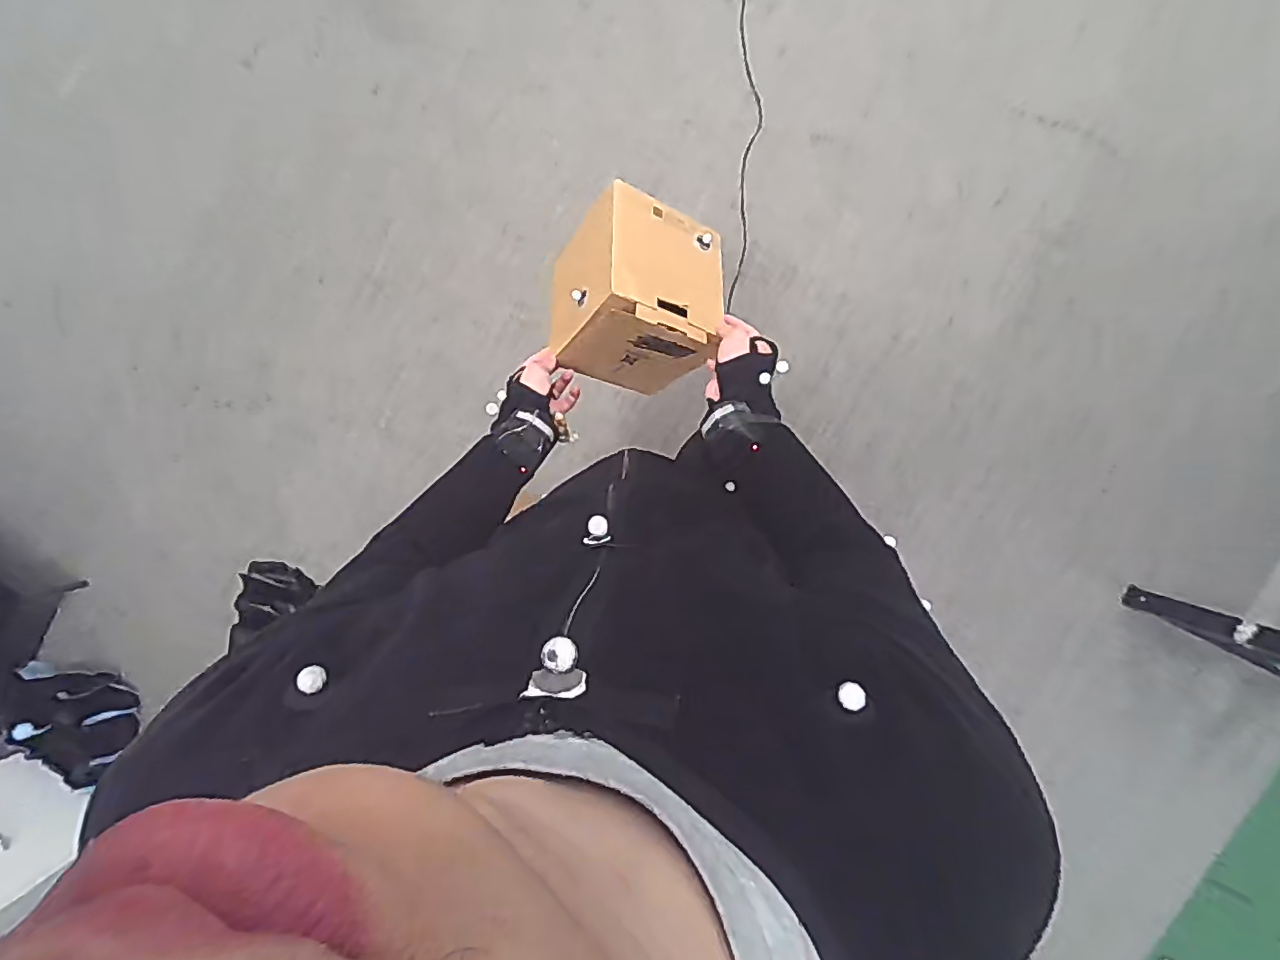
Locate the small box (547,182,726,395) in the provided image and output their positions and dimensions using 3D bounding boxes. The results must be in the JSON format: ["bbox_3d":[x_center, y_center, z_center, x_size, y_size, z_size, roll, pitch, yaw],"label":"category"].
[{"bbox_3d":[-0.010,-0.240,0.705,0.168,0.179,0.176,13,66,-31],"label":"small box"}]
